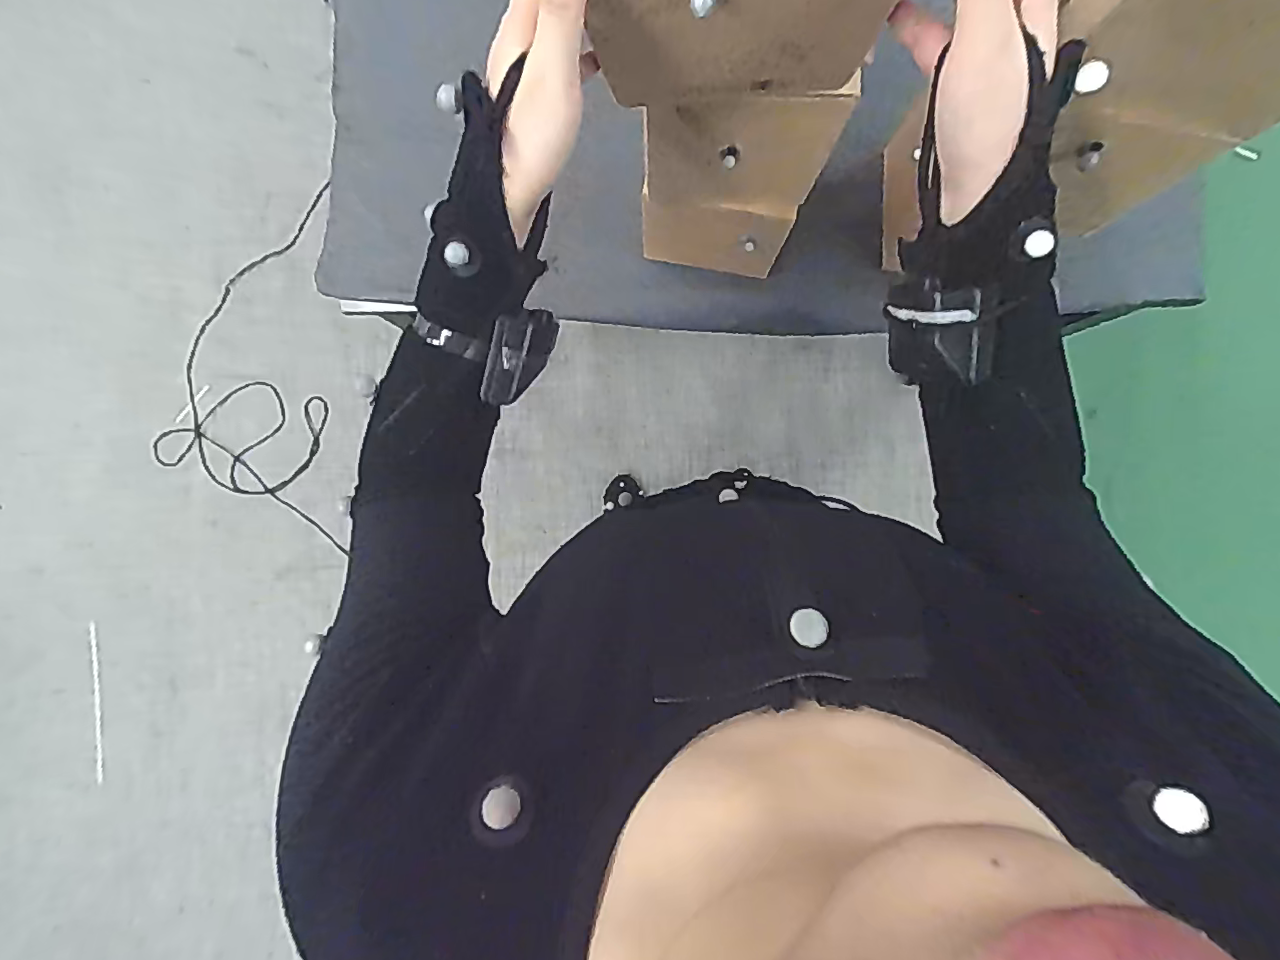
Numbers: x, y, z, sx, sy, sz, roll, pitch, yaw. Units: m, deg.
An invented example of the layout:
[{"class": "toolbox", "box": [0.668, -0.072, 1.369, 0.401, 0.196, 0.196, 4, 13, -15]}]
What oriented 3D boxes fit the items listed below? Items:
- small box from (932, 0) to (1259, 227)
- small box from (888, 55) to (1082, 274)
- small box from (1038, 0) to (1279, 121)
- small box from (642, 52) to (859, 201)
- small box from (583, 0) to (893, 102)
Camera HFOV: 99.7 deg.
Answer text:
[{"class": "small box", "box": [0.411, -0.361, 0.502, 0.179, 0.176, 0.168, 12, 90, 4]}, {"class": "small box", "box": [0.419, -0.374, 0.664, 0.168, 0.176, 0.179, 1, 90, 4]}, {"class": "small box", "box": [0.406, -0.365, 0.336, 0.179, 0.176, 0.168, 14, 90, 3]}, {"class": "small box", "box": [0.093, -0.387, 0.513, 0.179, 0.176, 0.168, 1, 90, 3]}, {"class": "small box", "box": [0.048, -0.331, 0.280, 0.168, 0.176, 0.179, 0, 108, 7]}]
